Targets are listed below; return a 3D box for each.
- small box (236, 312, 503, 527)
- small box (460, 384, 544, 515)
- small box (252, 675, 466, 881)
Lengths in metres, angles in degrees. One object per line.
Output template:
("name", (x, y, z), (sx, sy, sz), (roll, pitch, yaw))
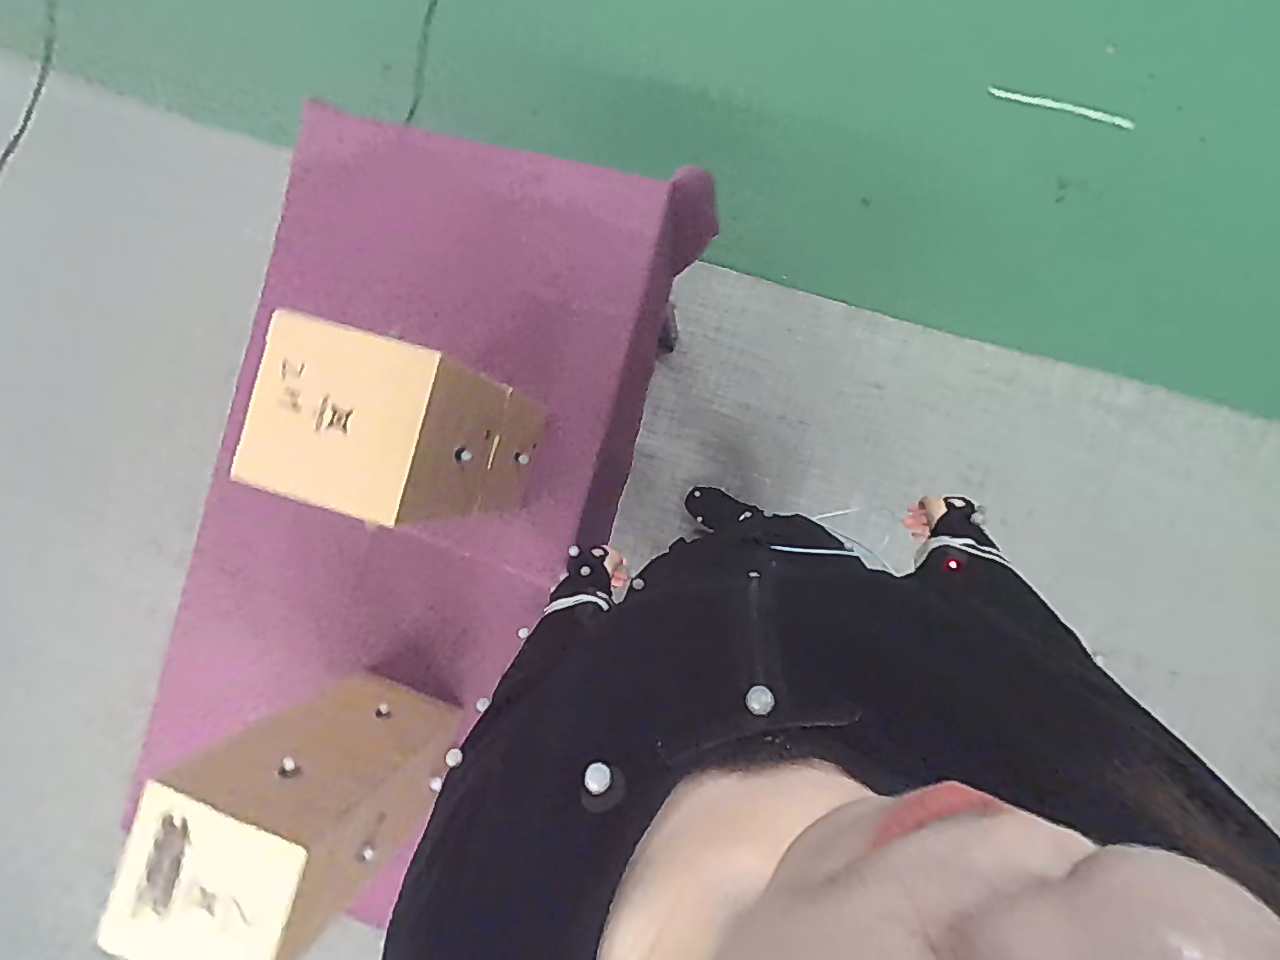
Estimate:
("small box", (-0.269, -0.057, 0.579), (0.179, 0.176, 0.168), (16, 91, 7))
("small box", (-0.249, -0.058, 0.744), (0.179, 0.176, 0.168), (16, 91, 6))
("small box", (-0.374, 0.392, 0.749), (0.179, 0.176, 0.168), (17, 91, 6))
